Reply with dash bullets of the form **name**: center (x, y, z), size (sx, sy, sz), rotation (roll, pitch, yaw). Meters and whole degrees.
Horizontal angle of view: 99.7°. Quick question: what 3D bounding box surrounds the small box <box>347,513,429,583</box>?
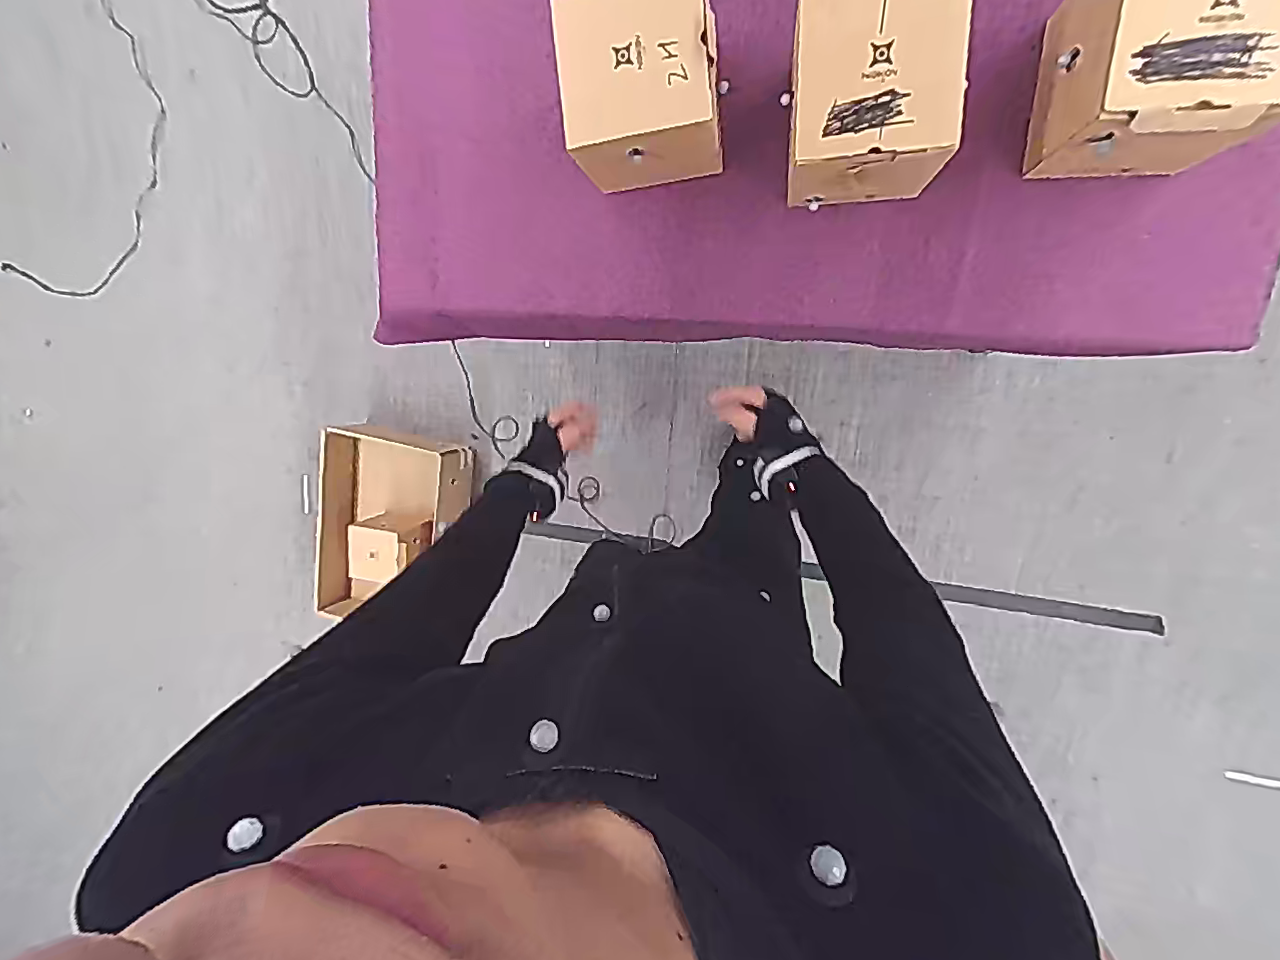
- **small box**: center (-0.782, 0.207, 1.692), size (0.179, 0.176, 0.168), rotation (8, 101, 11)

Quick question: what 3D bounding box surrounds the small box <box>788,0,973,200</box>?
- **small box**: center (0.265, -0.445, 0.633), size (0.168, 0.176, 0.179), rotation (2, 100, 12)

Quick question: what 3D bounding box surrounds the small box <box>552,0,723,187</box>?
- **small box**: center (0.008, -0.490, 0.679), size (0.179, 0.176, 0.168), rotation (-3, 101, 12)
